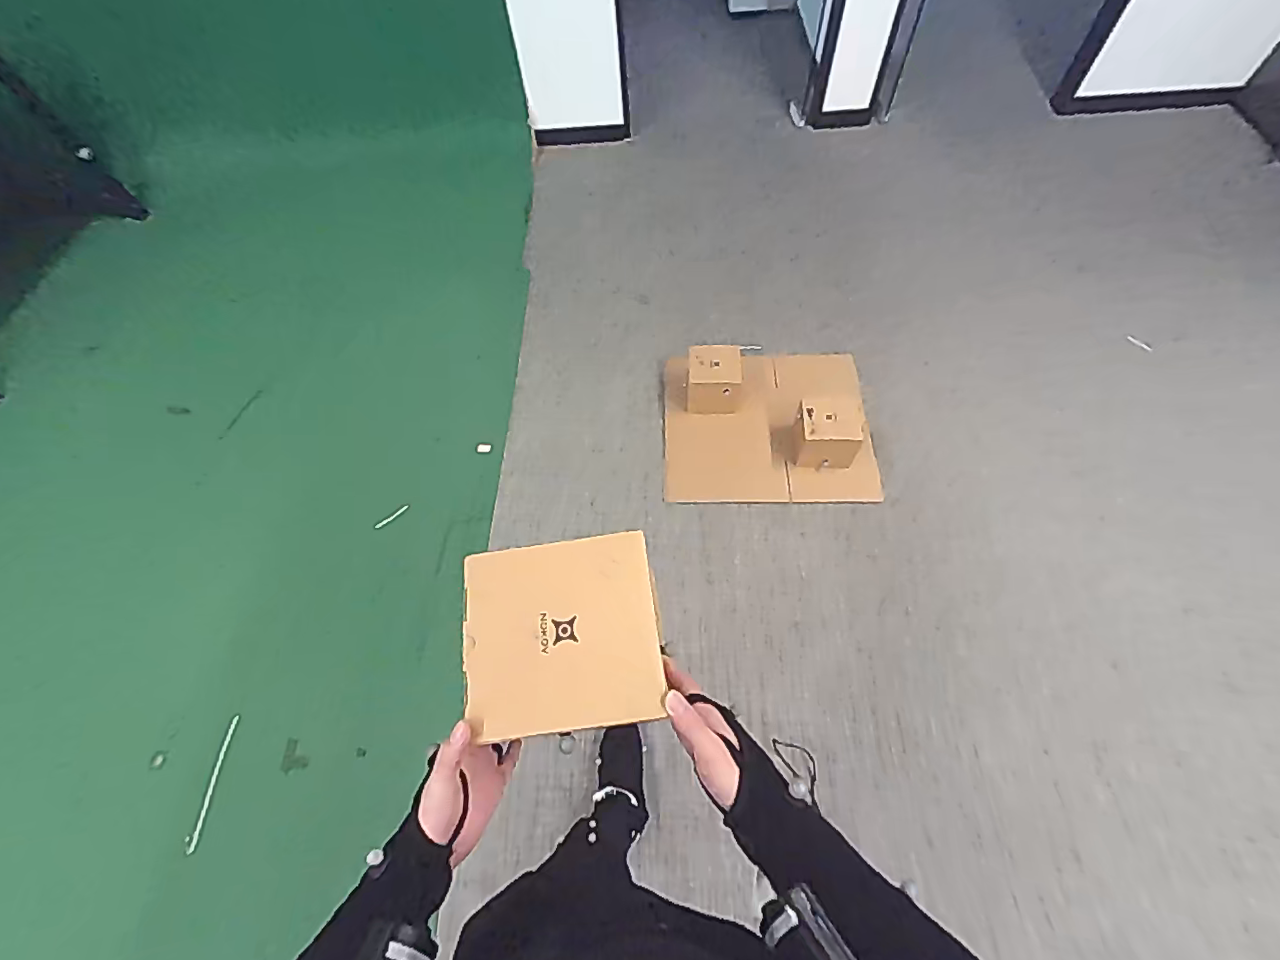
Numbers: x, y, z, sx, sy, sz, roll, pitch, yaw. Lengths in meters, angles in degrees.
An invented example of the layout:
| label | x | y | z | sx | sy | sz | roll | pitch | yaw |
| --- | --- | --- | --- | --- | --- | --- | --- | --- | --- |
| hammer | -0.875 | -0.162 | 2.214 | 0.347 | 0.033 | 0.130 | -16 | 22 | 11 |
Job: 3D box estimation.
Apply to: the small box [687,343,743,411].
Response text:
| label | x | y | z | sx | sy | sz | roll | pitch | yaw |
| --- | --- | --- | --- | --- | --- | --- | --- | --- | --- |
| small box | 0.252 | -0.350 | 1.856 | 0.179 | 0.176 | 0.168 | 1 | 61 | 4 |

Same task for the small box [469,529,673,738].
| label | x | y | z | sx | sy | sz | roll | pitch | yaw |
| --- | --- | --- | --- | --- | --- | --- | --- | --- | --- |
| small box | -0.061 | 0.161 | 0.557 | 0.179 | 0.176 | 0.168 | -9 | 67 | 3 |

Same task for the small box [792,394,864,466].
| label | x | y | z | sx | sy | sz | roll | pitch | yaw |
| --- | --- | --- | --- | --- | --- | --- | --- | --- | --- |
| small box | 0.597 | -0.156 | 1.734 | 0.179 | 0.176 | 0.168 | 2 | 61 | 5 |
